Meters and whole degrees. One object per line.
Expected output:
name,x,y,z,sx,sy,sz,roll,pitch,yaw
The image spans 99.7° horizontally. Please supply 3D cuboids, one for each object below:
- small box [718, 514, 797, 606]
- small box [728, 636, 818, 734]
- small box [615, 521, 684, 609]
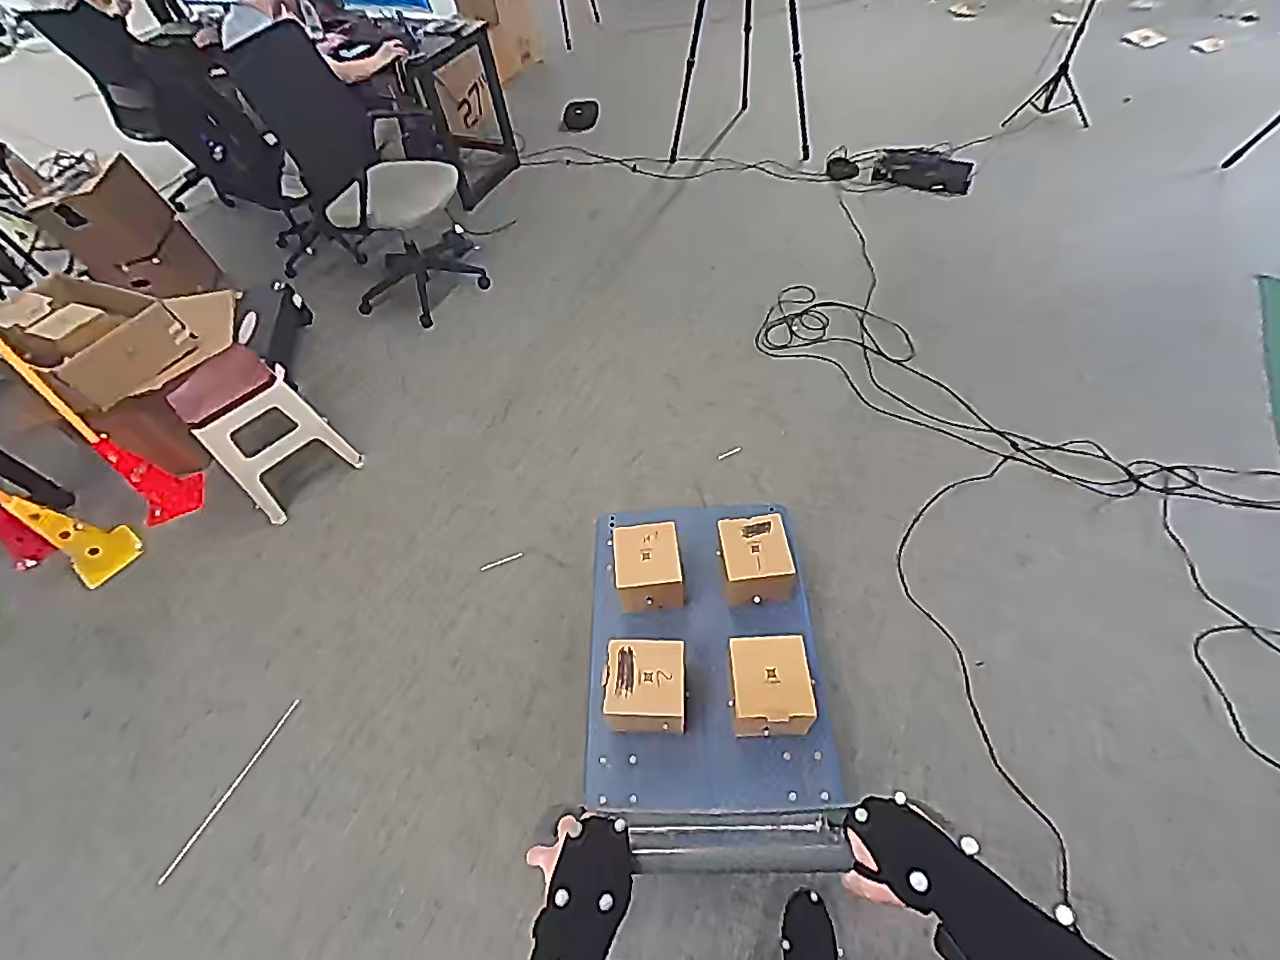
small box,0.301,0.212,1.424,0.168,0.176,0.179,-7,55,2
small box,0.295,0.472,1.241,0.168,0.176,0.179,-3,55,3
small box,0.026,0.232,1.438,0.168,0.176,0.179,-6,54,1
